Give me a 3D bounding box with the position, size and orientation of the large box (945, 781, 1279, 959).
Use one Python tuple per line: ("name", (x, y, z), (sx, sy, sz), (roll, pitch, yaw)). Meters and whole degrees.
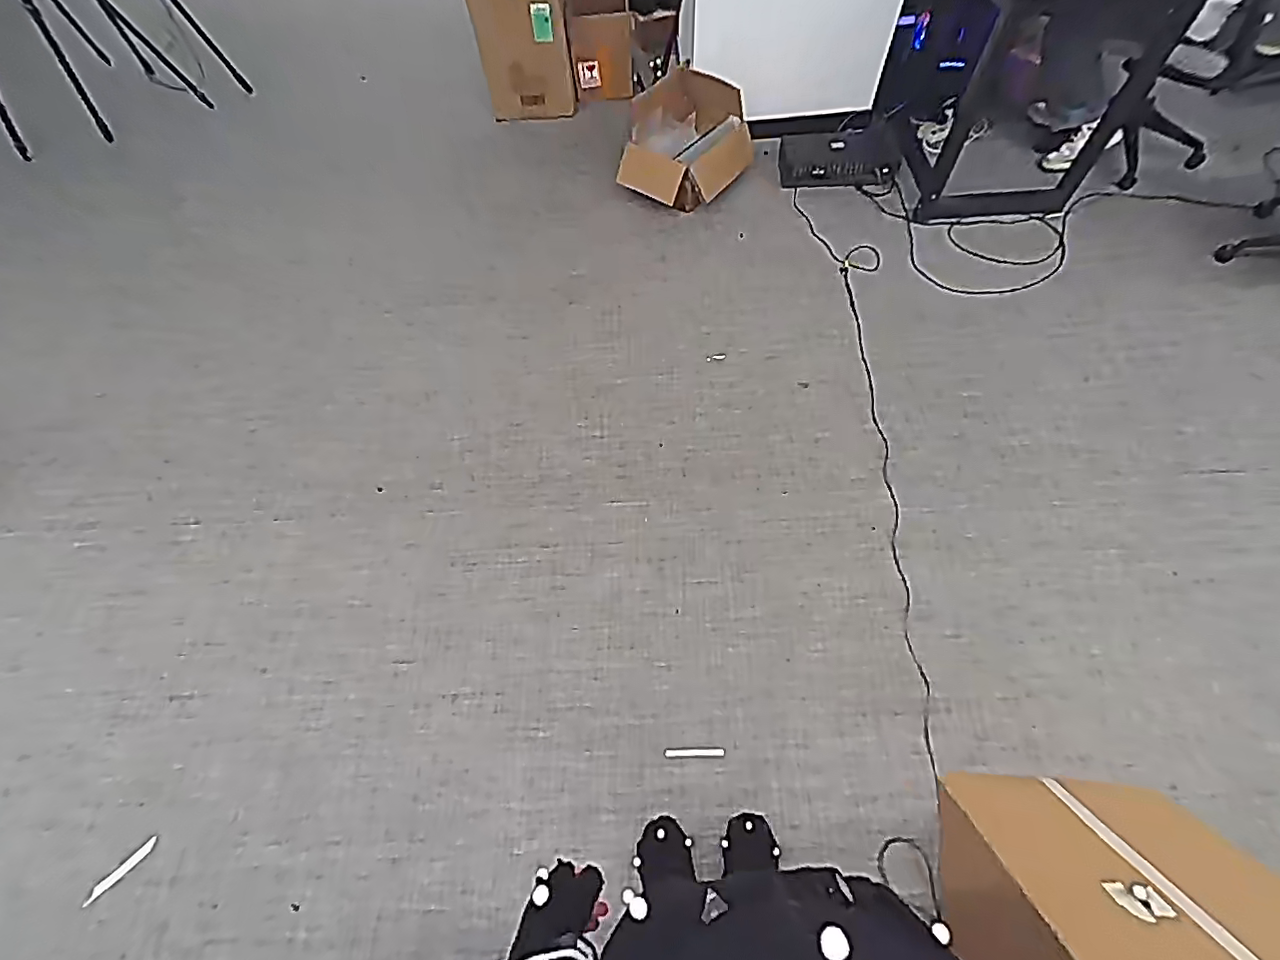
("large box", (0.605, 0.630, 0.642), (0.320, 0.408, 0.320), (0, 90, 9))
